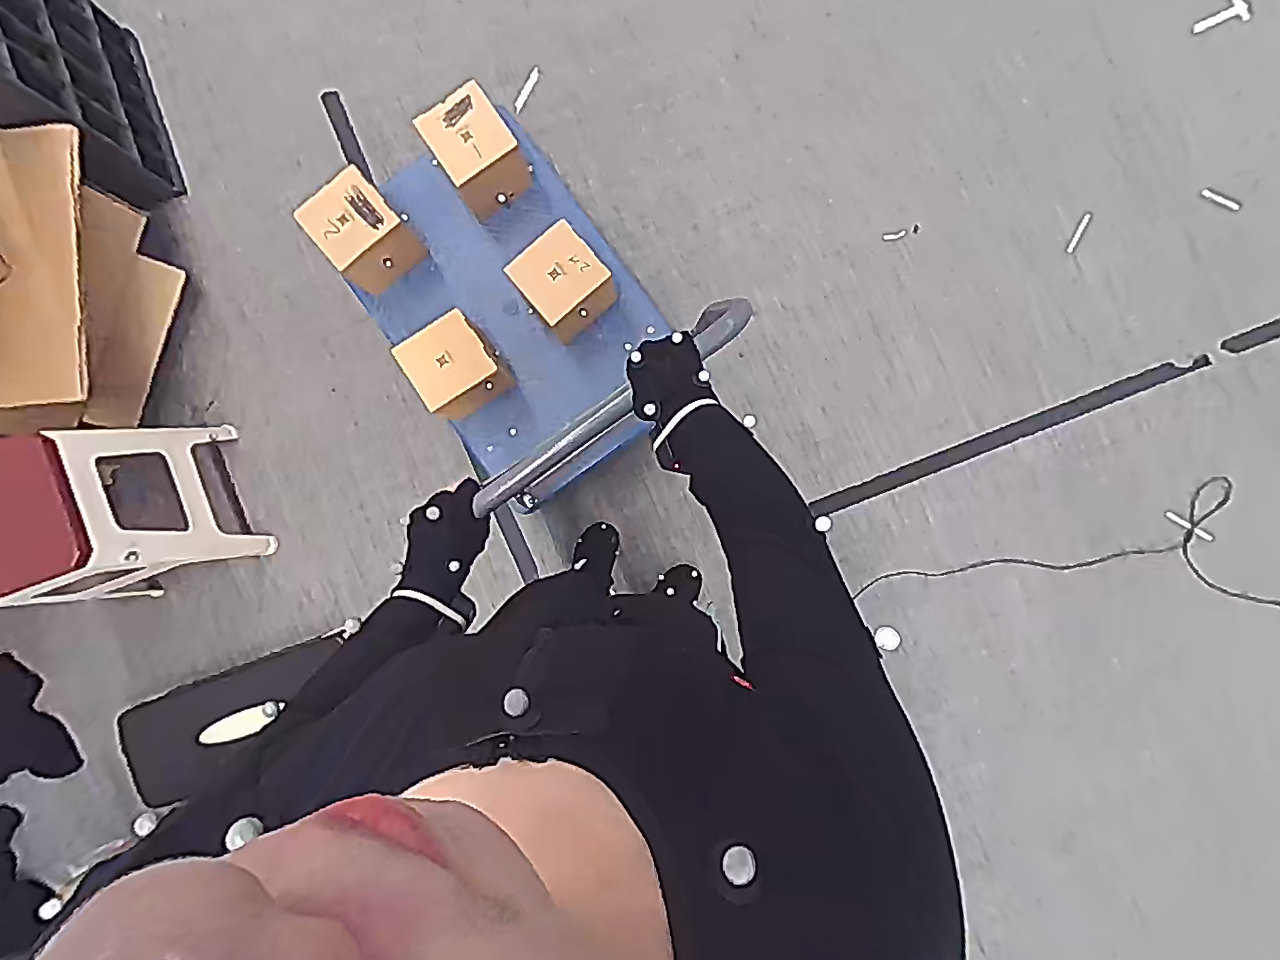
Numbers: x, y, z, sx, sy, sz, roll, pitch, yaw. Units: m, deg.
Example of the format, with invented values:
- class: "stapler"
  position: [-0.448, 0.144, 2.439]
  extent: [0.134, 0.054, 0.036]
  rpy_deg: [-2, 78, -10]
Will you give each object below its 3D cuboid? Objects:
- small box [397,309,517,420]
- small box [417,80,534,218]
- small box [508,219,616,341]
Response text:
- class: "small box"
  position: [-0.411, -0.256, 1.246]
  extent: [0.179, 0.176, 0.168]
  rpy_deg: [-34, 89, -1]
- class: "small box"
  position: [-0.370, -0.749, 1.245]
  extent: [0.168, 0.176, 0.179]
  rpy_deg: [-35, 91, 1]
- class: "small box"
  position: [-0.168, -0.447, 1.242]
  extent: [0.179, 0.176, 0.168]
  rpy_deg: [-41, 90, 1]
